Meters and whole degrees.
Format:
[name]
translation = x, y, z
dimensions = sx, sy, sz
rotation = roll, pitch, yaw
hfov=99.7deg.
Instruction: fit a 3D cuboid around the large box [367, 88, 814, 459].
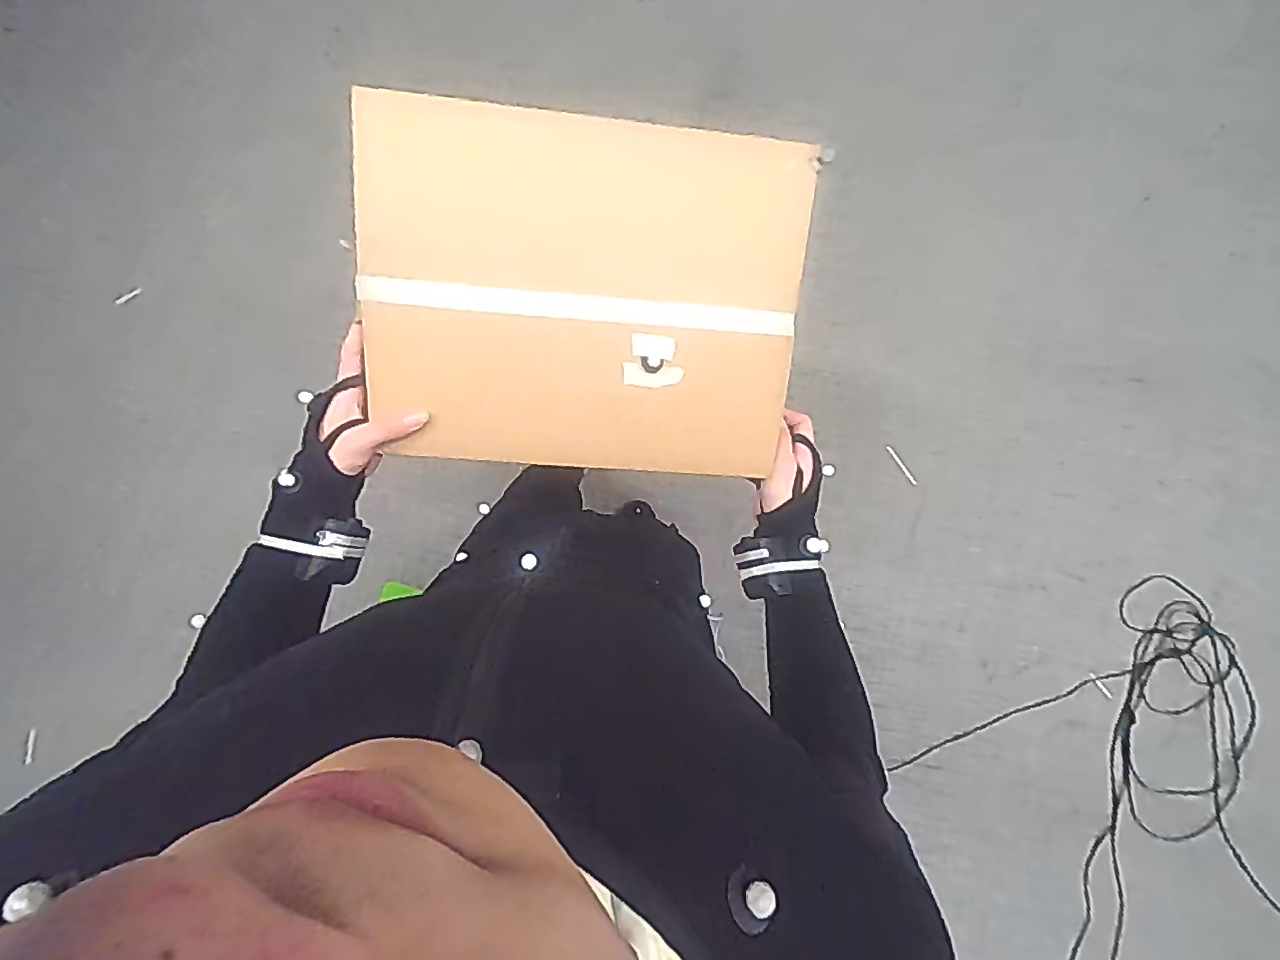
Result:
[large box]
translation = -0.061, -0.216, 0.659
dimensions = 0.408, 0.320, 0.320
rotation = 3, 106, -6
